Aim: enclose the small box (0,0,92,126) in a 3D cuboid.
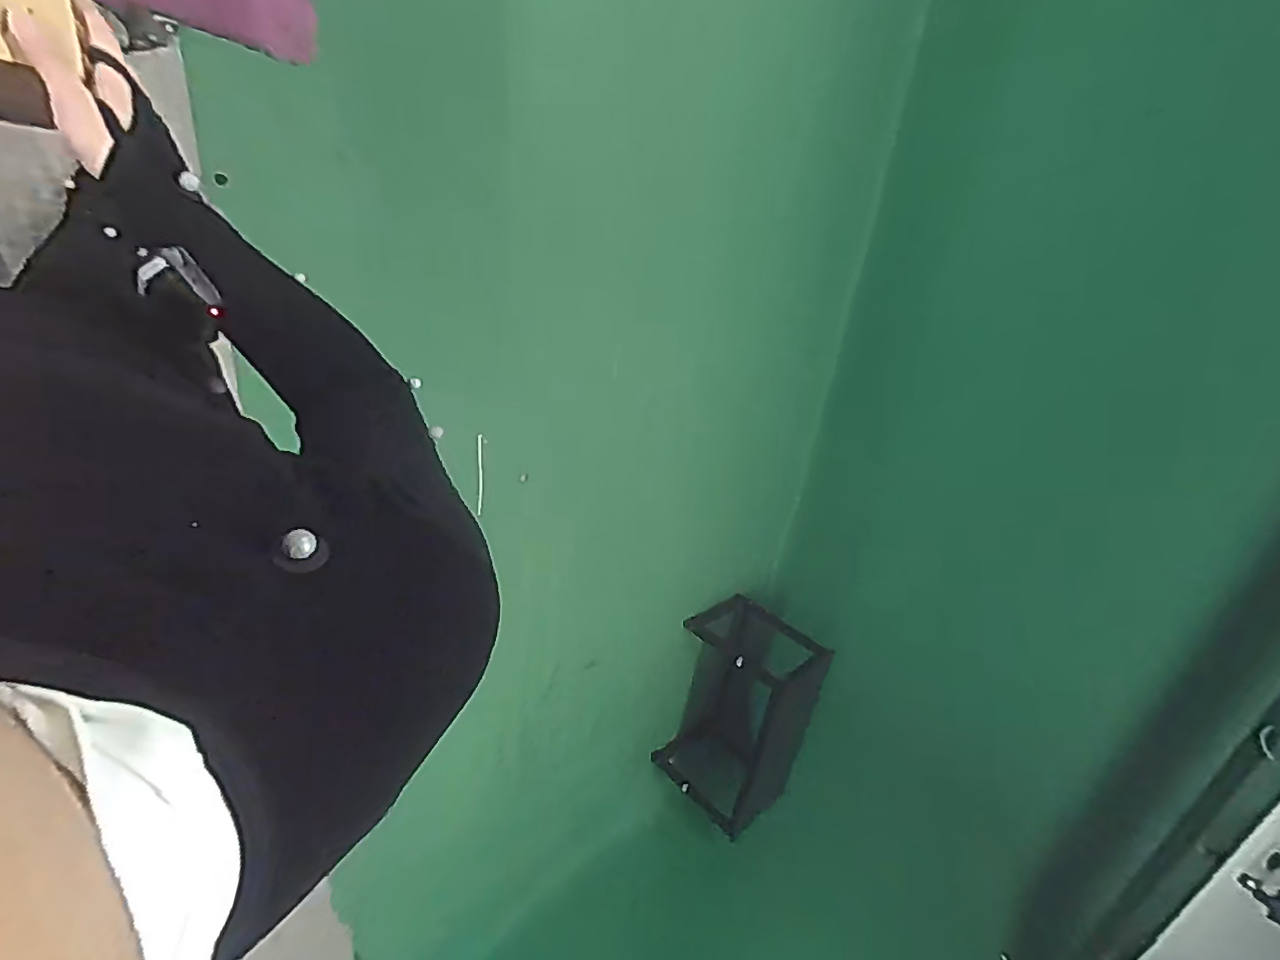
[{"bbox_3d":[-0.545,-0.404,0.404,0.168,0.176,0.179,-13,109,-44],"label":"small box"}]
